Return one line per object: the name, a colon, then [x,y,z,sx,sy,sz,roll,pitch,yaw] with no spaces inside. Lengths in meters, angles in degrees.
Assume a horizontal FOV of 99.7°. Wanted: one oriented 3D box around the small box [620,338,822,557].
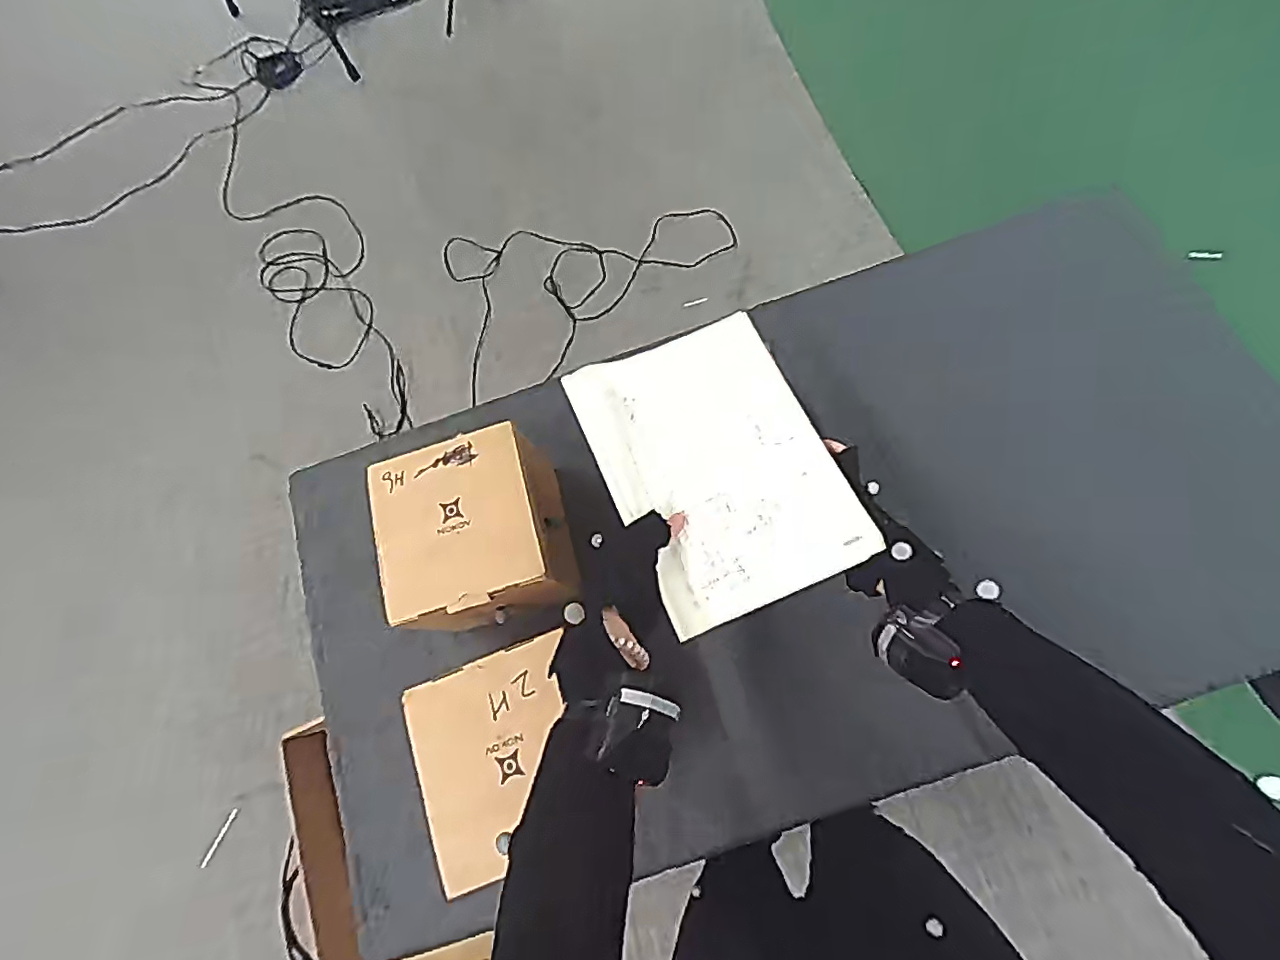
small box: [0.085,-0.026,0.616,0.168,0.176,0.179,-16,72,3]
